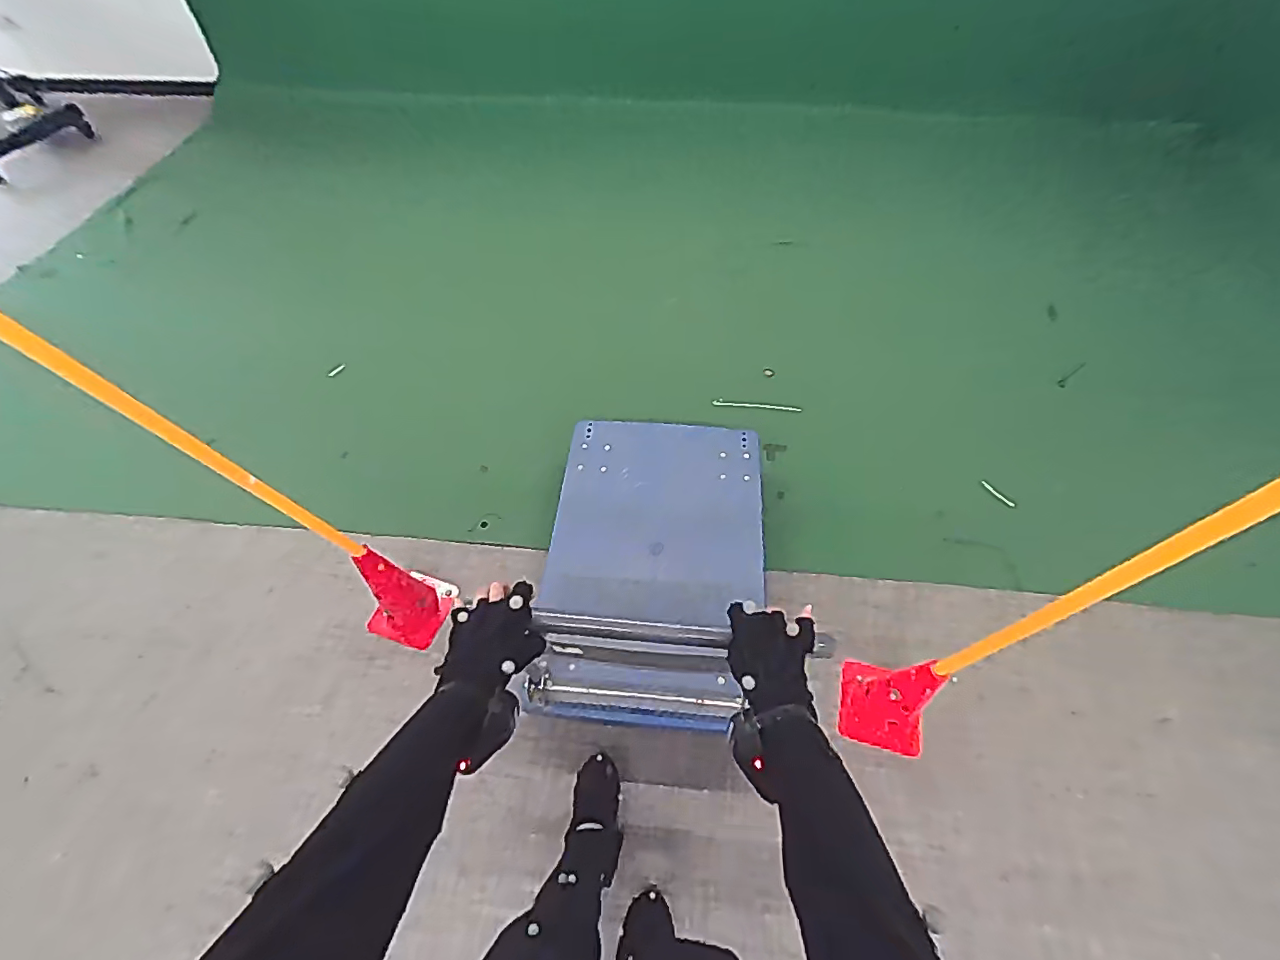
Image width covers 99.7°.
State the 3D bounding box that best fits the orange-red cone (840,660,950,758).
[{"bbox_3d":[0.614,0.484,1.235,0.198,0.360,0.199,13,57,11],"label":"orange-red cone"}]
